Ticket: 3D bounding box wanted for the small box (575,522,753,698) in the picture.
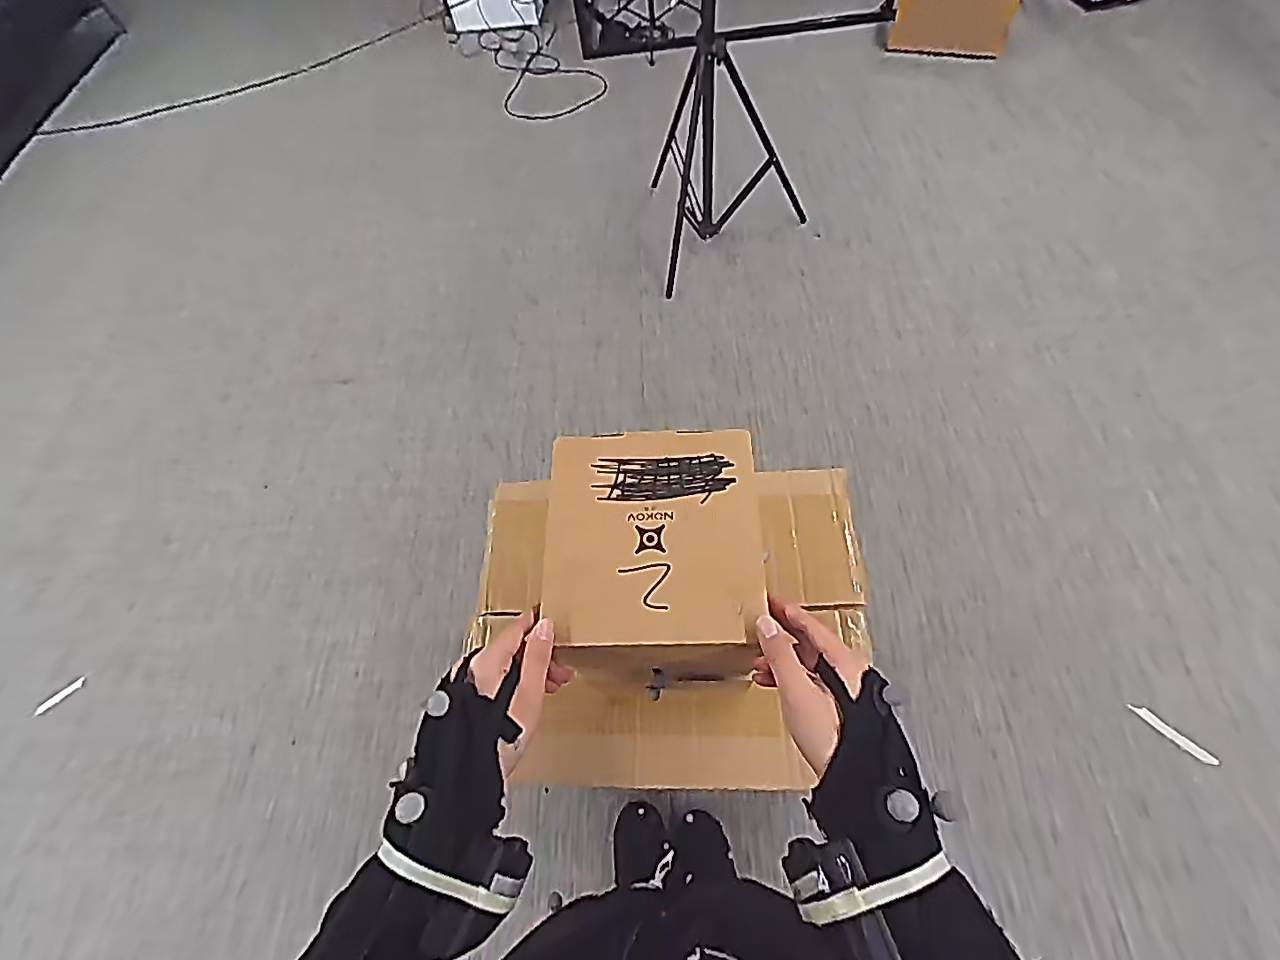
[{"bbox_3d":[0.032,0.158,0.628,0.179,0.176,0.168,-2,62,5],"label":"small box"}]
